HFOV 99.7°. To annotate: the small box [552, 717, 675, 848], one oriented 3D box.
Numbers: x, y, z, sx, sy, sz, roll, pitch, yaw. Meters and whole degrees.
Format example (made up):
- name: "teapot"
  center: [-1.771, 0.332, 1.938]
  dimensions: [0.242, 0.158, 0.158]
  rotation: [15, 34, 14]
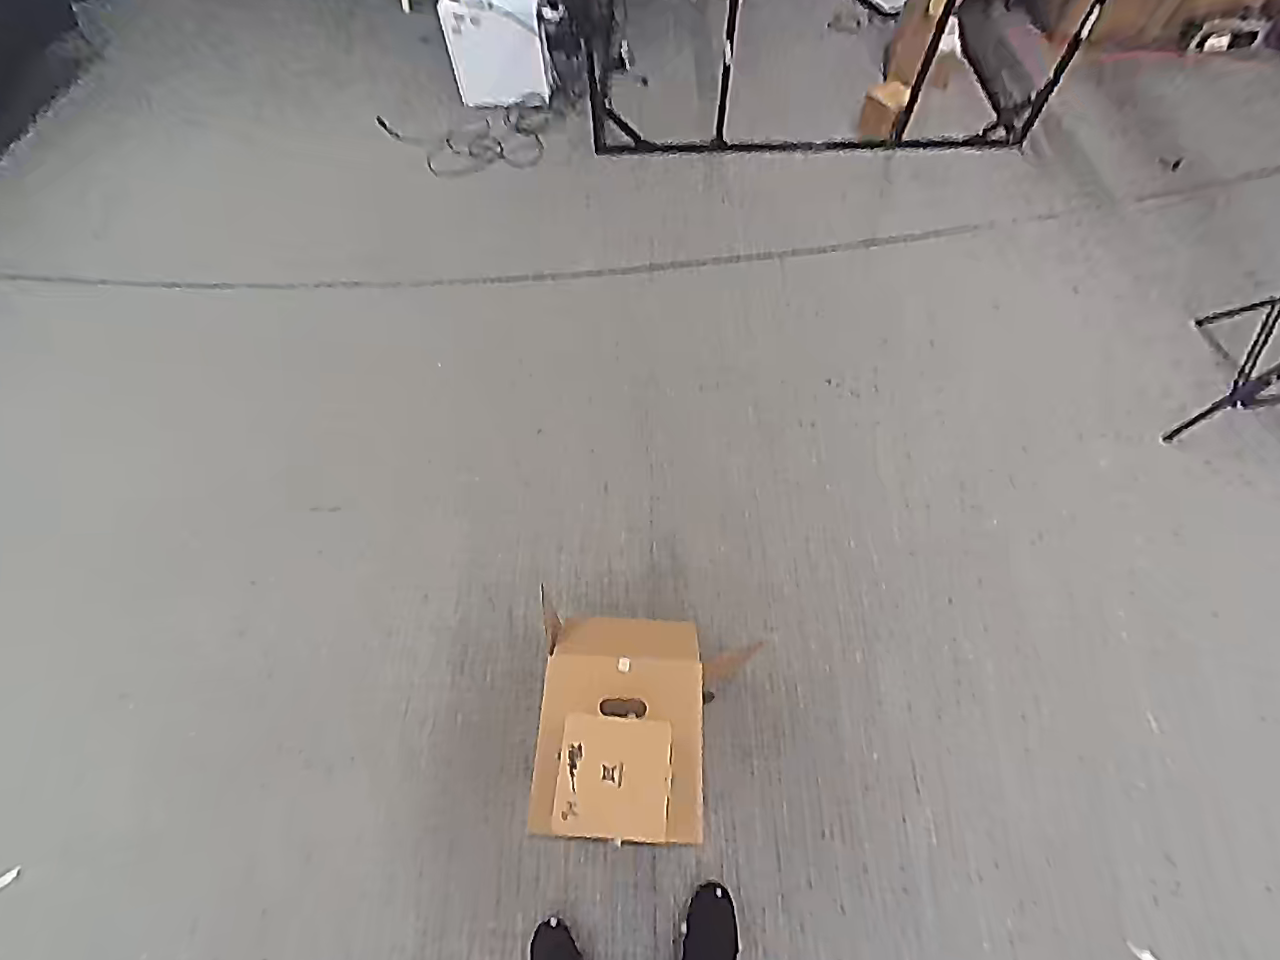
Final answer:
- name: "small box"
  center: [-0.039, 0.505, 0.918]
  dimensions: [0.179, 0.176, 0.168]
  rotation: [5, 62, 3]
